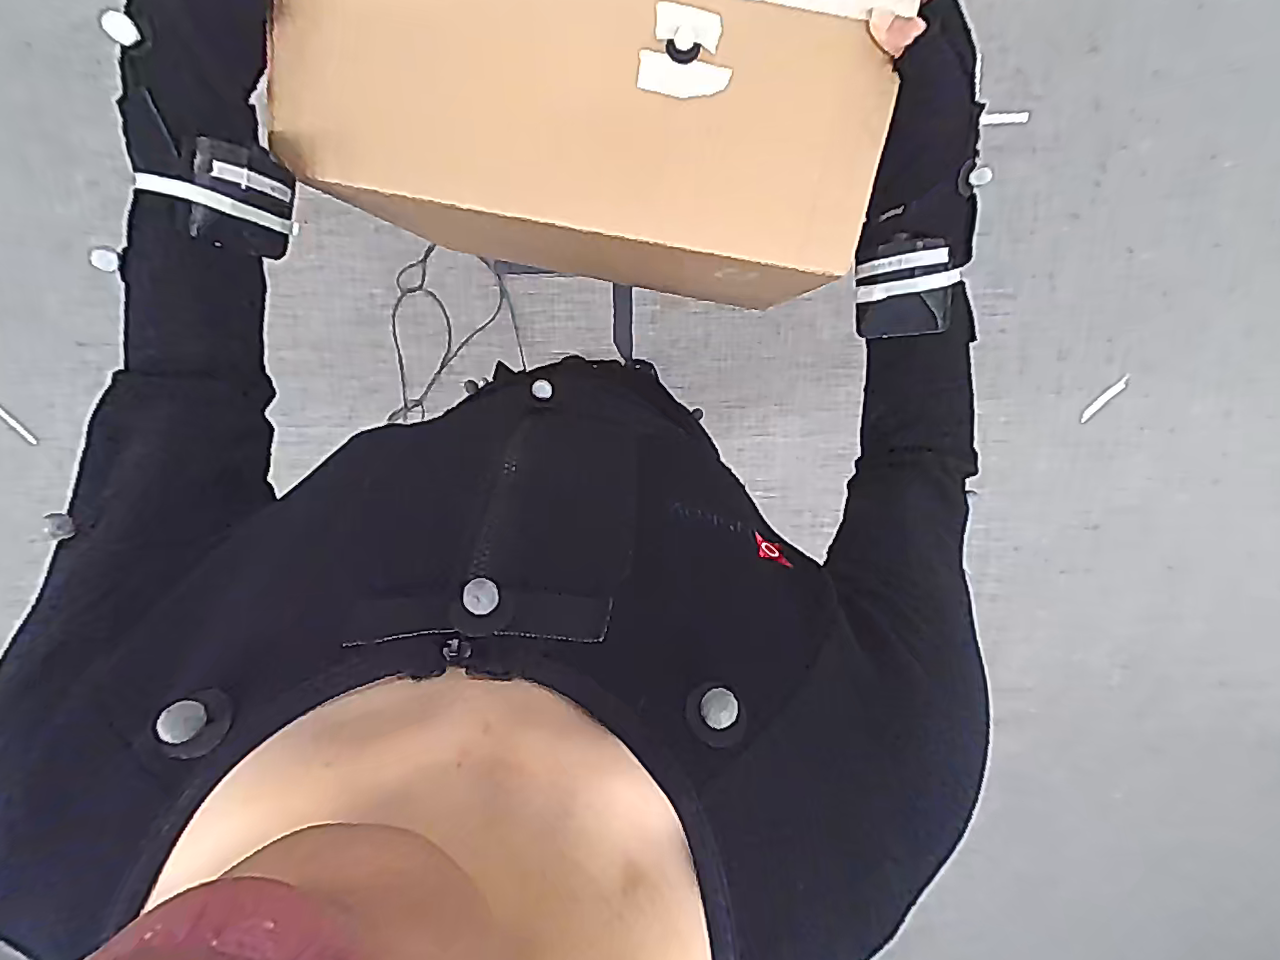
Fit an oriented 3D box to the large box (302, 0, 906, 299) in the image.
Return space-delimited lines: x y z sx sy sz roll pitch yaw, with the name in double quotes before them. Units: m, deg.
"large box" -0.020 -0.367 0.498 0.408 0.320 0.320 10 104 0
